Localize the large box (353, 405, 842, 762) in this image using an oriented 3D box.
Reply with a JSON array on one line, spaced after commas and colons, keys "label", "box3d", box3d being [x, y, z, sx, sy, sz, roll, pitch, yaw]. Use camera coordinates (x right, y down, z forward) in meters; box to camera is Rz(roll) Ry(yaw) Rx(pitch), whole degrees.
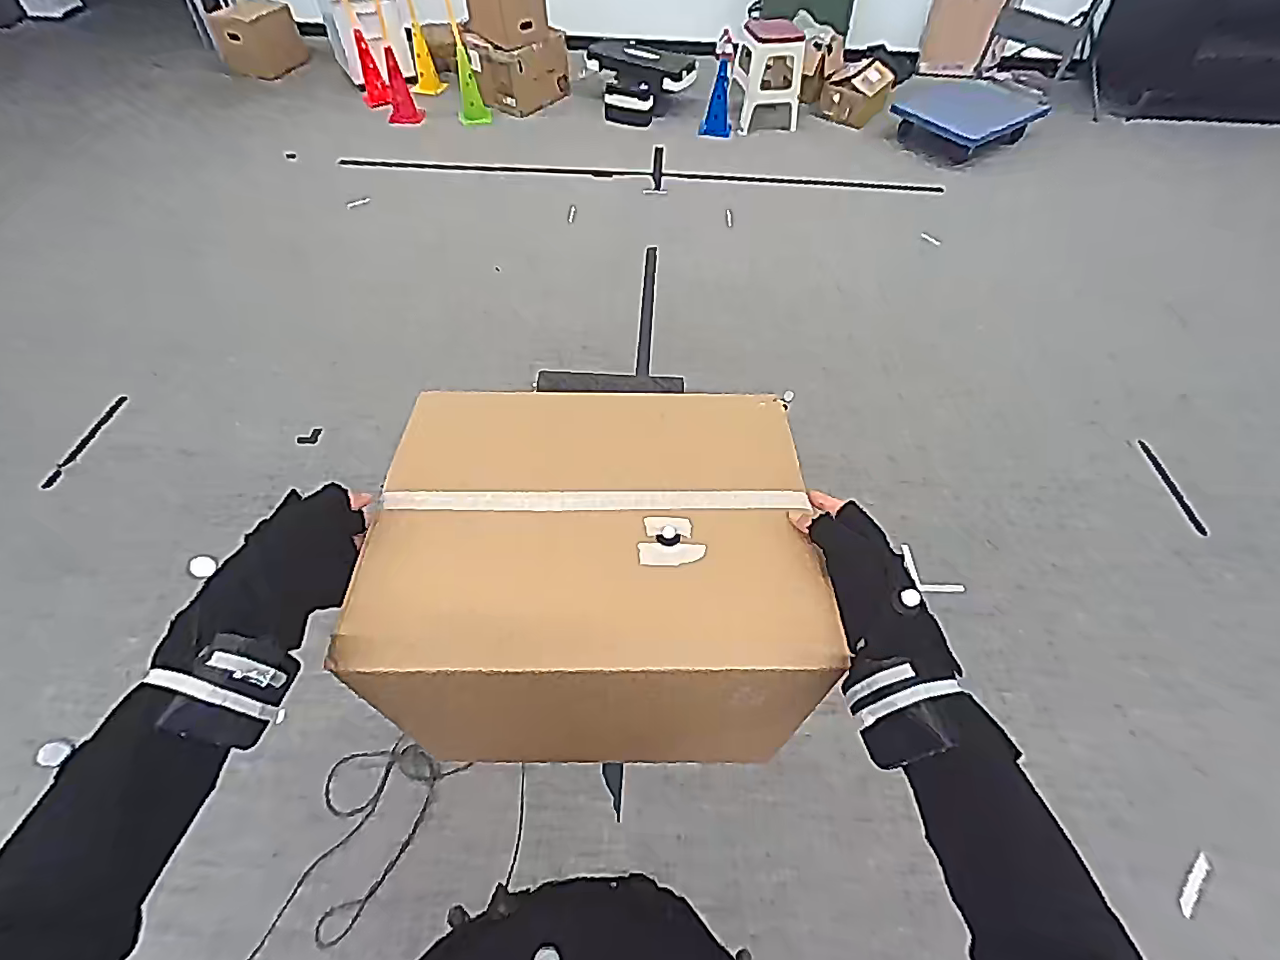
[{"label": "large box", "box3d": [-0.039, 0.127, 0.641, 0.408, 0.320, 0.320, 1, 51, -1]}]
